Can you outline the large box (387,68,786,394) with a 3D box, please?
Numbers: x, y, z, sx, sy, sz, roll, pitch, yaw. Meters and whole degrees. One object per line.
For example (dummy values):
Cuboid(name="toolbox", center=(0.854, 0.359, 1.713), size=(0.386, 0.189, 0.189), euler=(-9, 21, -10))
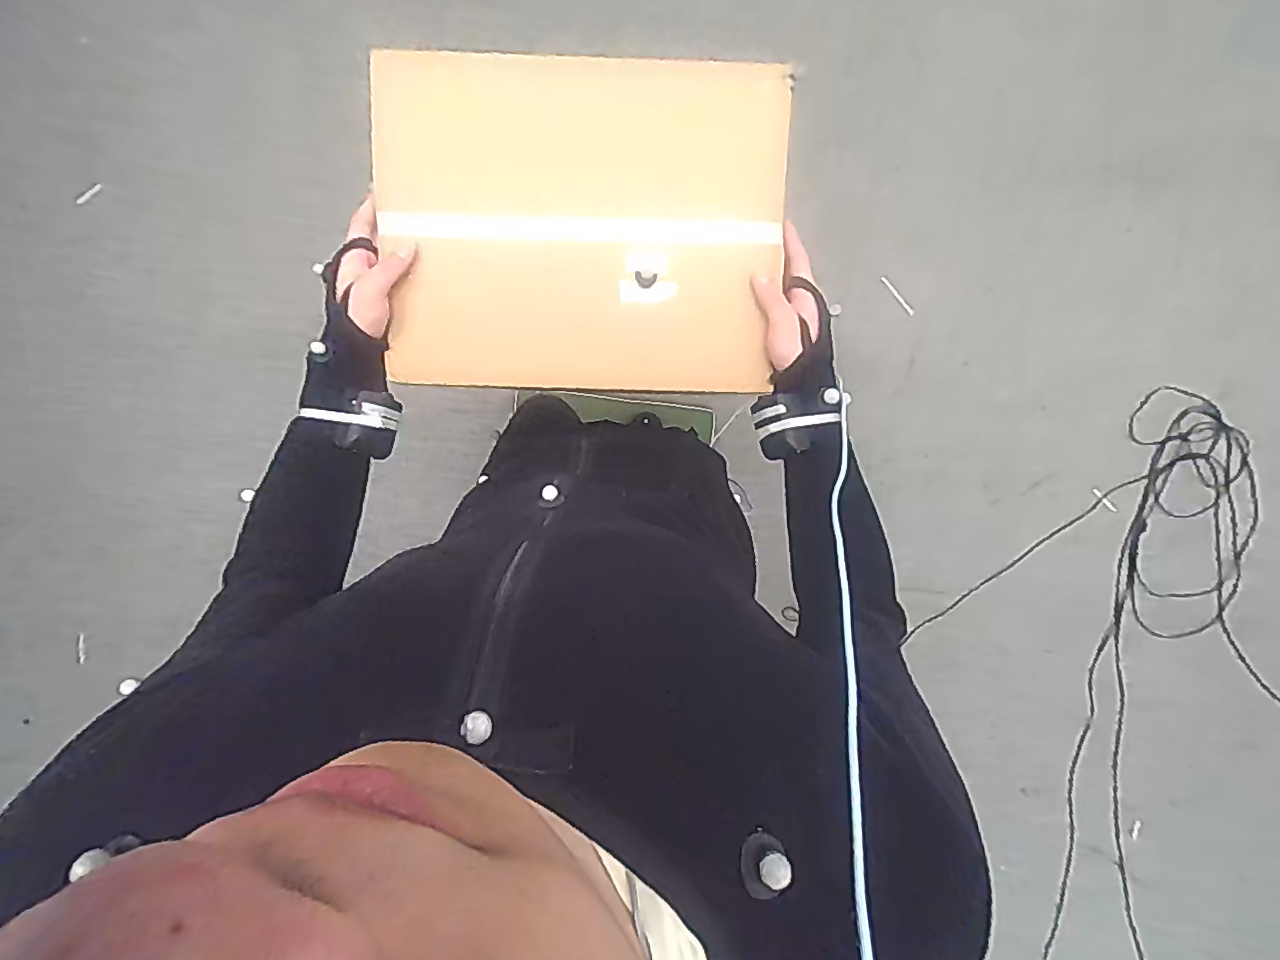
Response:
Cuboid(name="large box", center=(-0.058, -0.272, 0.703), size=(0.408, 0.320, 0.320), euler=(1, 99, -1))
